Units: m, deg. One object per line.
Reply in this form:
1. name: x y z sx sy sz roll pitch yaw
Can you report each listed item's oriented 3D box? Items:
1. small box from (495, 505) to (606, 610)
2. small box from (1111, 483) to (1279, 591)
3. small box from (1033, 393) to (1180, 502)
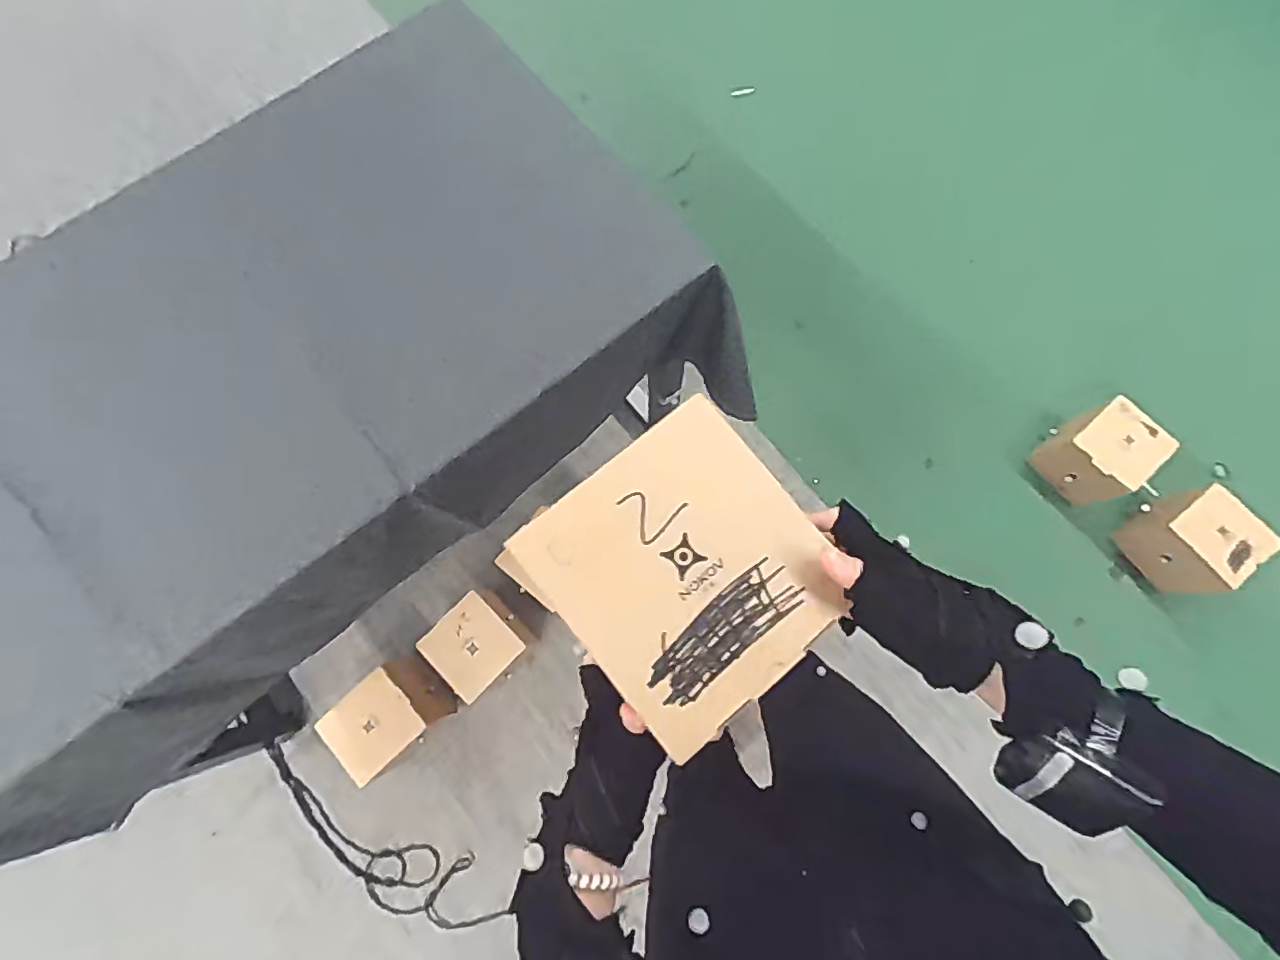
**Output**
1. small box: -0.198 0.185 1.249 0.179 0.176 0.168 38 81 10
2. small box: 1.256 0.135 1.234 0.168 0.176 0.179 -36 78 -7
3. small box: 1.090 -0.068 1.285 0.179 0.176 0.168 -40 79 -7
